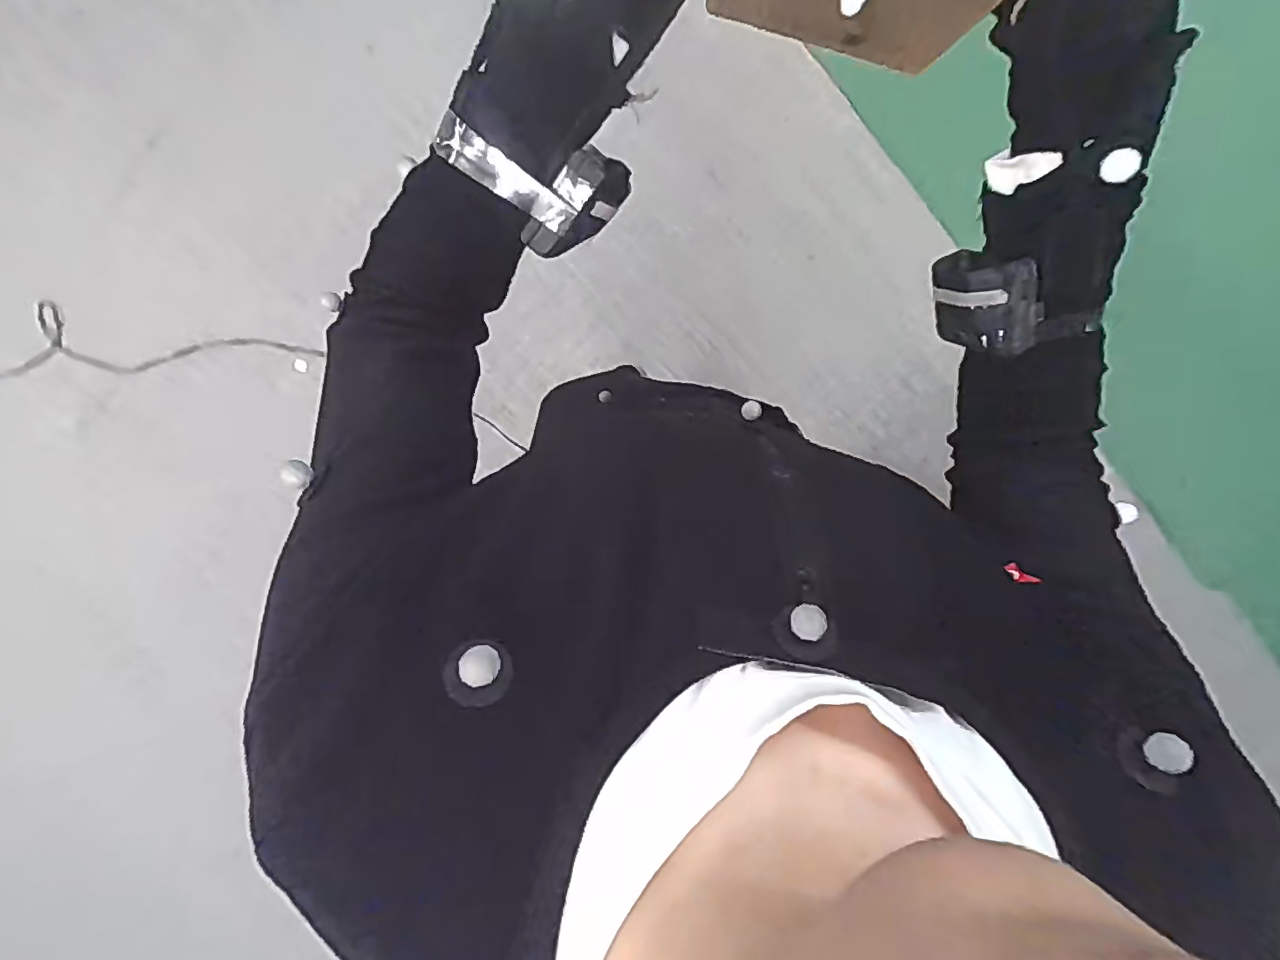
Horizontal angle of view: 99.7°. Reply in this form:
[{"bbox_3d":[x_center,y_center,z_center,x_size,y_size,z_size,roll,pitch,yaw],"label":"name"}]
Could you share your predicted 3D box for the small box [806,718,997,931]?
[{"bbox_3d":[0.380,0.512,0.829,0.168,0.176,0.179,38,93,-6],"label":"small box"}]
